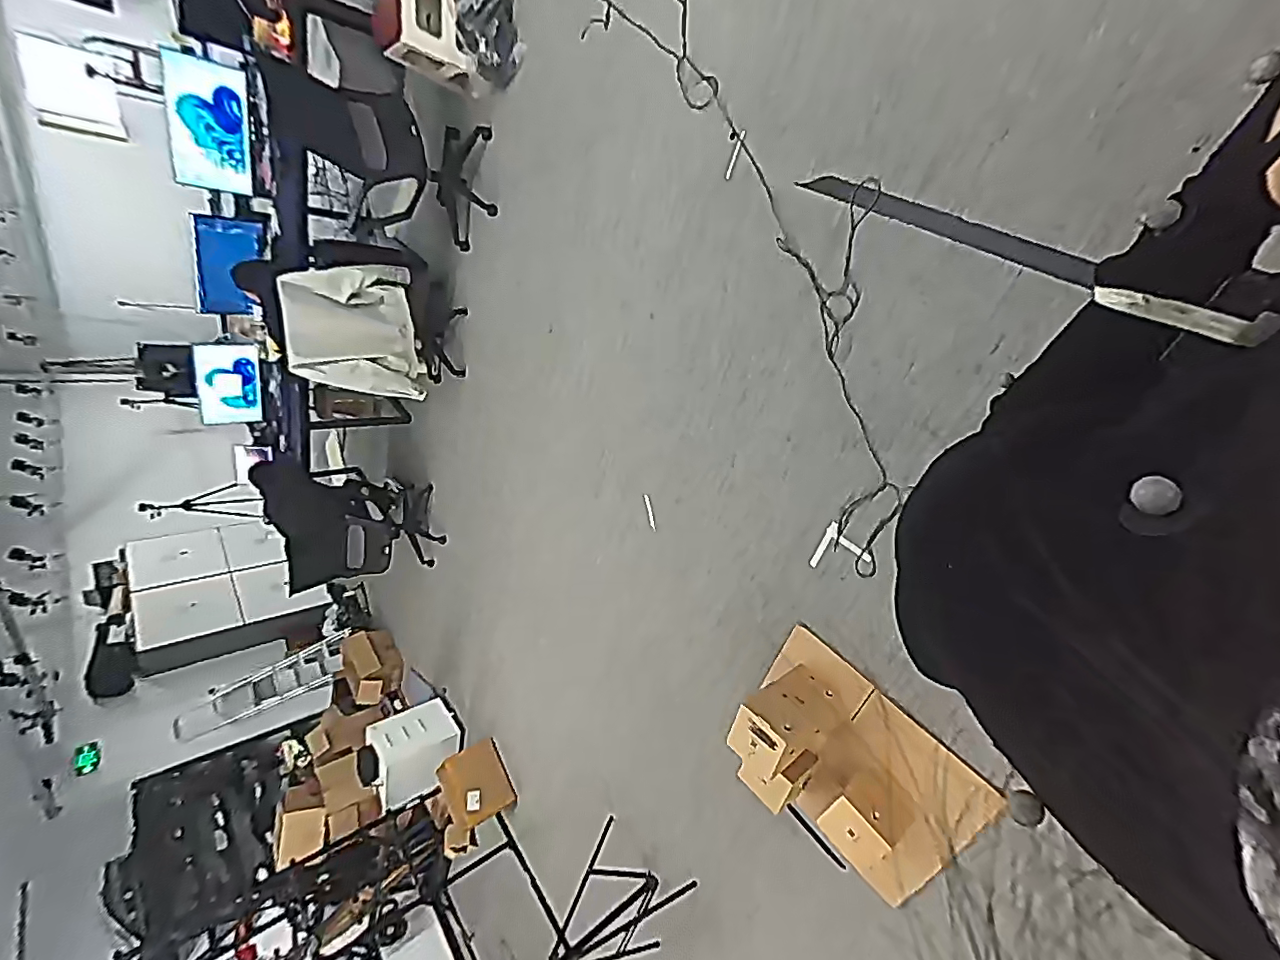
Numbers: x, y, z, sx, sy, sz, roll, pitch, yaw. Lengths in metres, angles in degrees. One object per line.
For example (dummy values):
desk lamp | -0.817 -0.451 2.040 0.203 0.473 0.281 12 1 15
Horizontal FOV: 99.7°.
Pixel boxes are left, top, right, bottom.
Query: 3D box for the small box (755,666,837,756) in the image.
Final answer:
small box | 0.506 0.735 1.742 0.168 0.176 0.179 36 123 37

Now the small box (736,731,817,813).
small box | 0.464 0.972 1.840 0.179 0.176 0.168 35 123 37

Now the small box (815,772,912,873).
small box | 0.670 1.012 1.619 0.179 0.176 0.168 43 127 32
